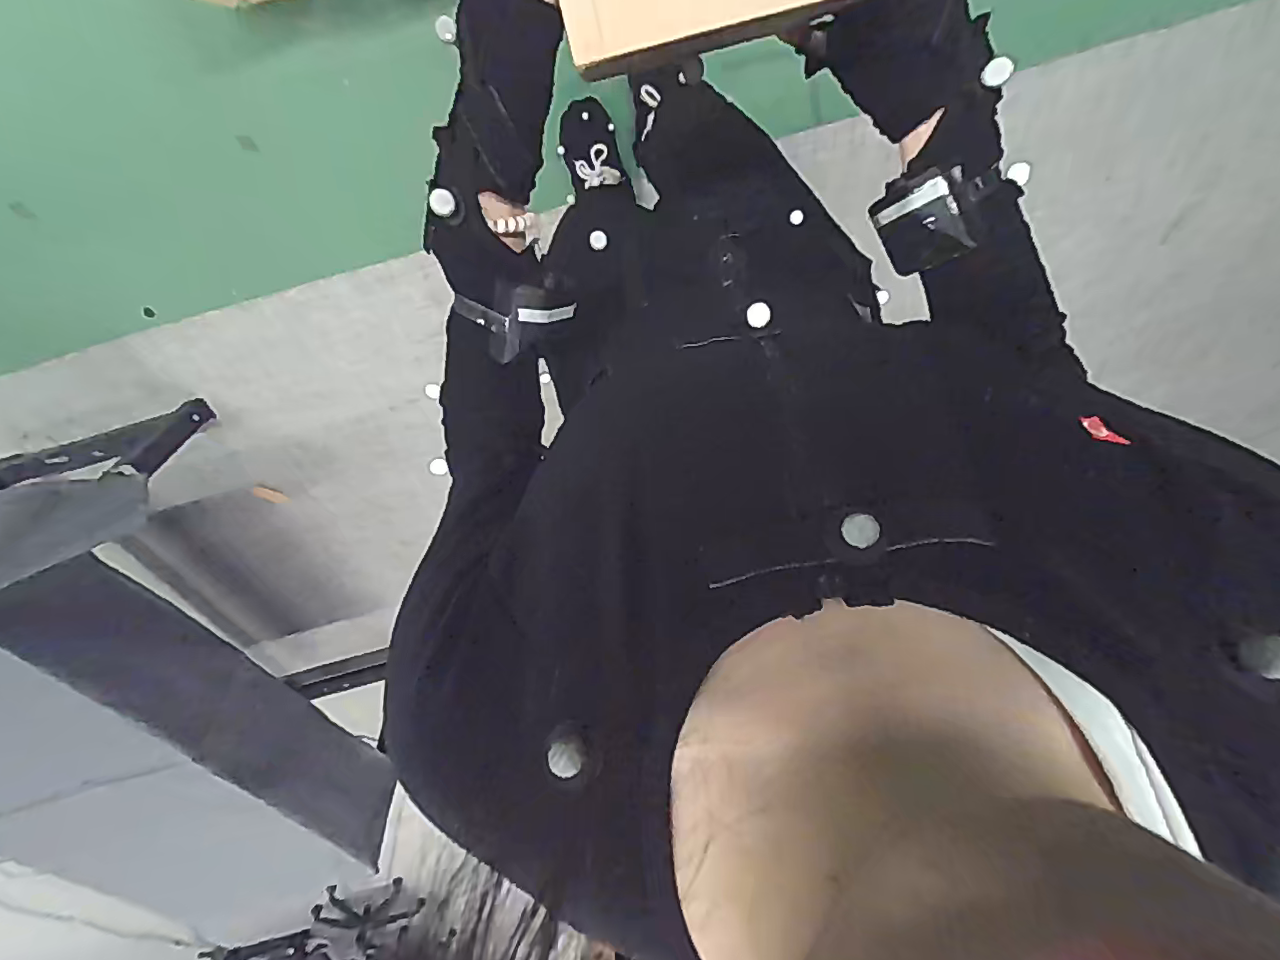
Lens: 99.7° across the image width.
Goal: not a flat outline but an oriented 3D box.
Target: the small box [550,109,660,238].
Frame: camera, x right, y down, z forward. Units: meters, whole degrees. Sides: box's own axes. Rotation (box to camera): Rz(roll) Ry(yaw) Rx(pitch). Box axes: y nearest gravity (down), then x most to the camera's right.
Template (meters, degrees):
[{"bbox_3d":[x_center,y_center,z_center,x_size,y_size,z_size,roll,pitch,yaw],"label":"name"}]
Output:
[{"bbox_3d":[-0.079,-0.653,1.155,0.179,0.176,0.168,26,133,-8],"label":"small box"}]

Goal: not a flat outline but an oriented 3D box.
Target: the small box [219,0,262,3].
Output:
[{"bbox_3d":[-0.659,-0.893,0.866,0.168,0.176,0.179,-11,126,-1],"label":"small box"}]

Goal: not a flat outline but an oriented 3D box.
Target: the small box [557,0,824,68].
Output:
[{"bbox_3d":[0.022,-0.348,0.286,0.168,0.176,0.179,-11,124,4],"label":"small box"}]
